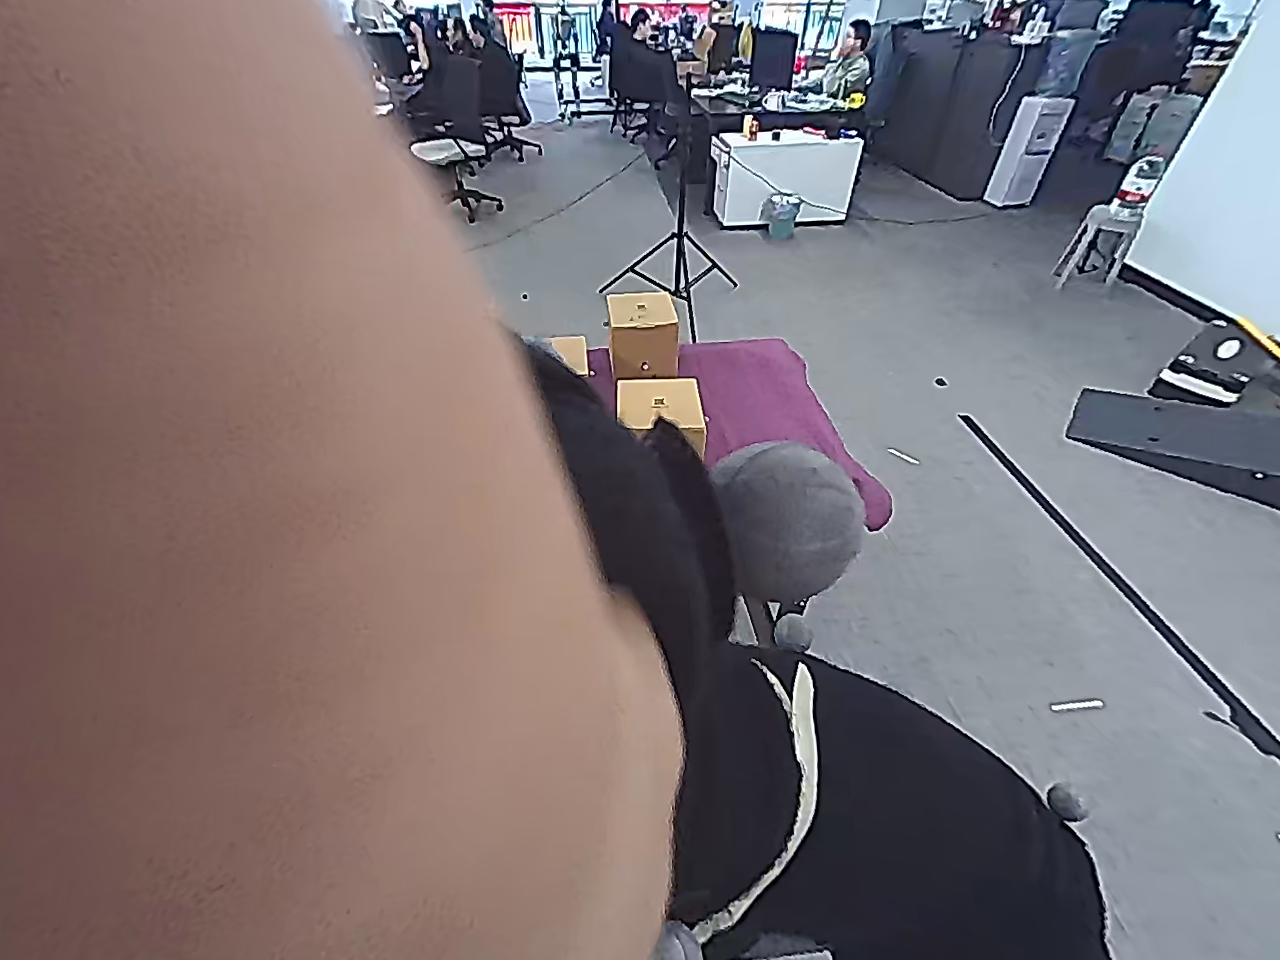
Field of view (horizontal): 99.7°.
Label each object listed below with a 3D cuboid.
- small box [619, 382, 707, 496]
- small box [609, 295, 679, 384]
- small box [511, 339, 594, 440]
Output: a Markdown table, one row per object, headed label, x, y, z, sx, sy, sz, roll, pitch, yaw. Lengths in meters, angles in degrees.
| label | x | y | z | sx | sy | sz | roll | pitch | yaw |
| --- | --- | --- | --- | --- | --- | --- | --- | --- | --- |
| small box | 0.041 | -0.086 | 1.116 | 0.168 | 0.176 | 0.179 | -2 | 42 | -1 |
| small box | 0.006 | -0.364 | 1.414 | 0.168 | 0.176 | 0.179 | -5 | 44 | -4 |
| small box | -0.196 | -0.204 | 1.247 | 0.168 | 0.176 | 0.179 | -4 | 42 | -4 |
